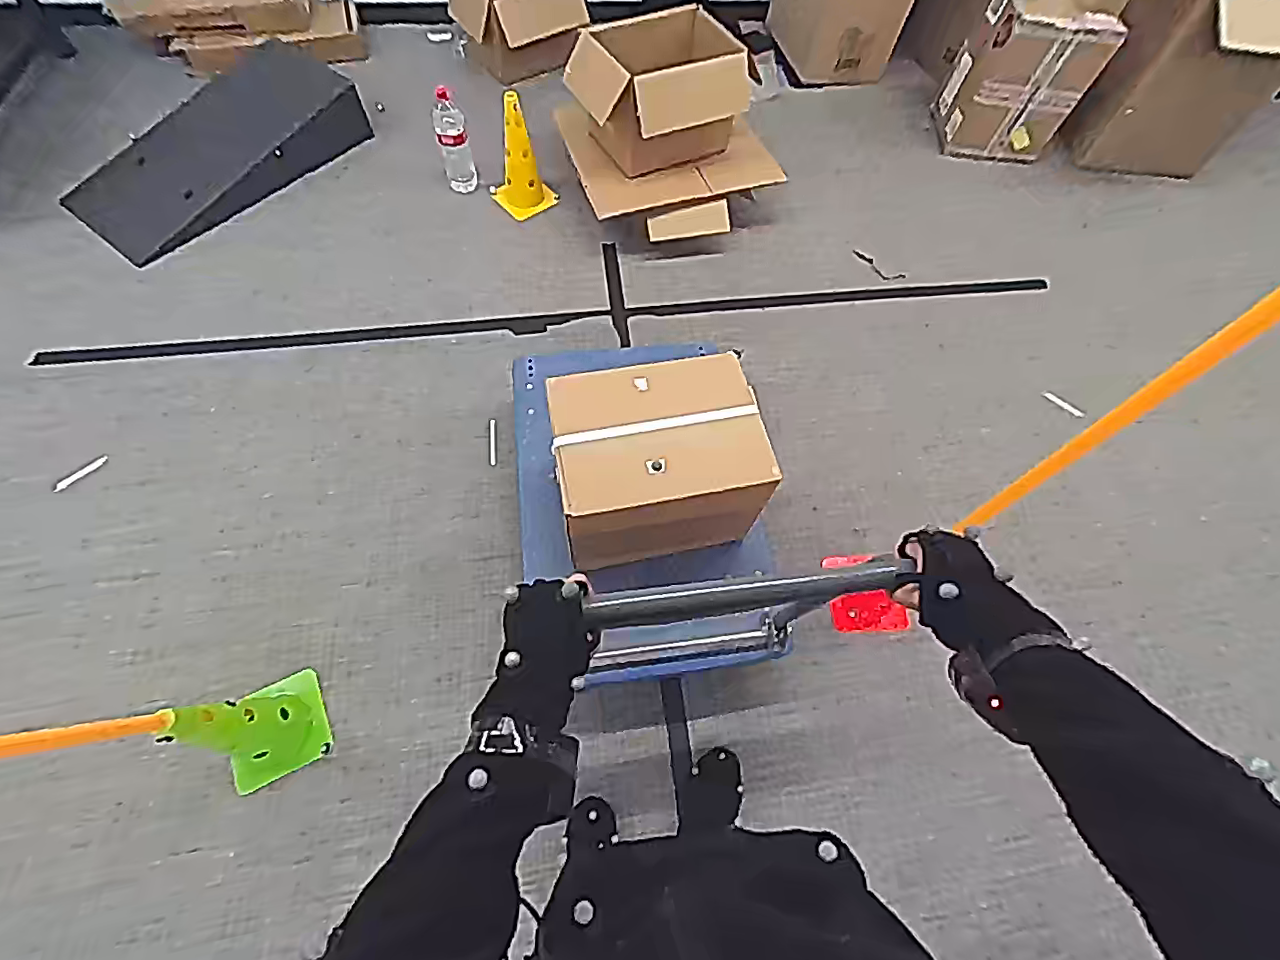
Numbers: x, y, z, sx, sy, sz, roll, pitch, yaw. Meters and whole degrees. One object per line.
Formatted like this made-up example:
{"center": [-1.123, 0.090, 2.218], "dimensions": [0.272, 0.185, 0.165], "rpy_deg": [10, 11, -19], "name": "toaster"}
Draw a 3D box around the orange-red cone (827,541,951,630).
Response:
{"center": [0.605, 0.216, 1.253], "dimensions": [0.199, 0.360, 0.198], "rpy_deg": [1, 64, -4], "name": "orange-red cone"}
